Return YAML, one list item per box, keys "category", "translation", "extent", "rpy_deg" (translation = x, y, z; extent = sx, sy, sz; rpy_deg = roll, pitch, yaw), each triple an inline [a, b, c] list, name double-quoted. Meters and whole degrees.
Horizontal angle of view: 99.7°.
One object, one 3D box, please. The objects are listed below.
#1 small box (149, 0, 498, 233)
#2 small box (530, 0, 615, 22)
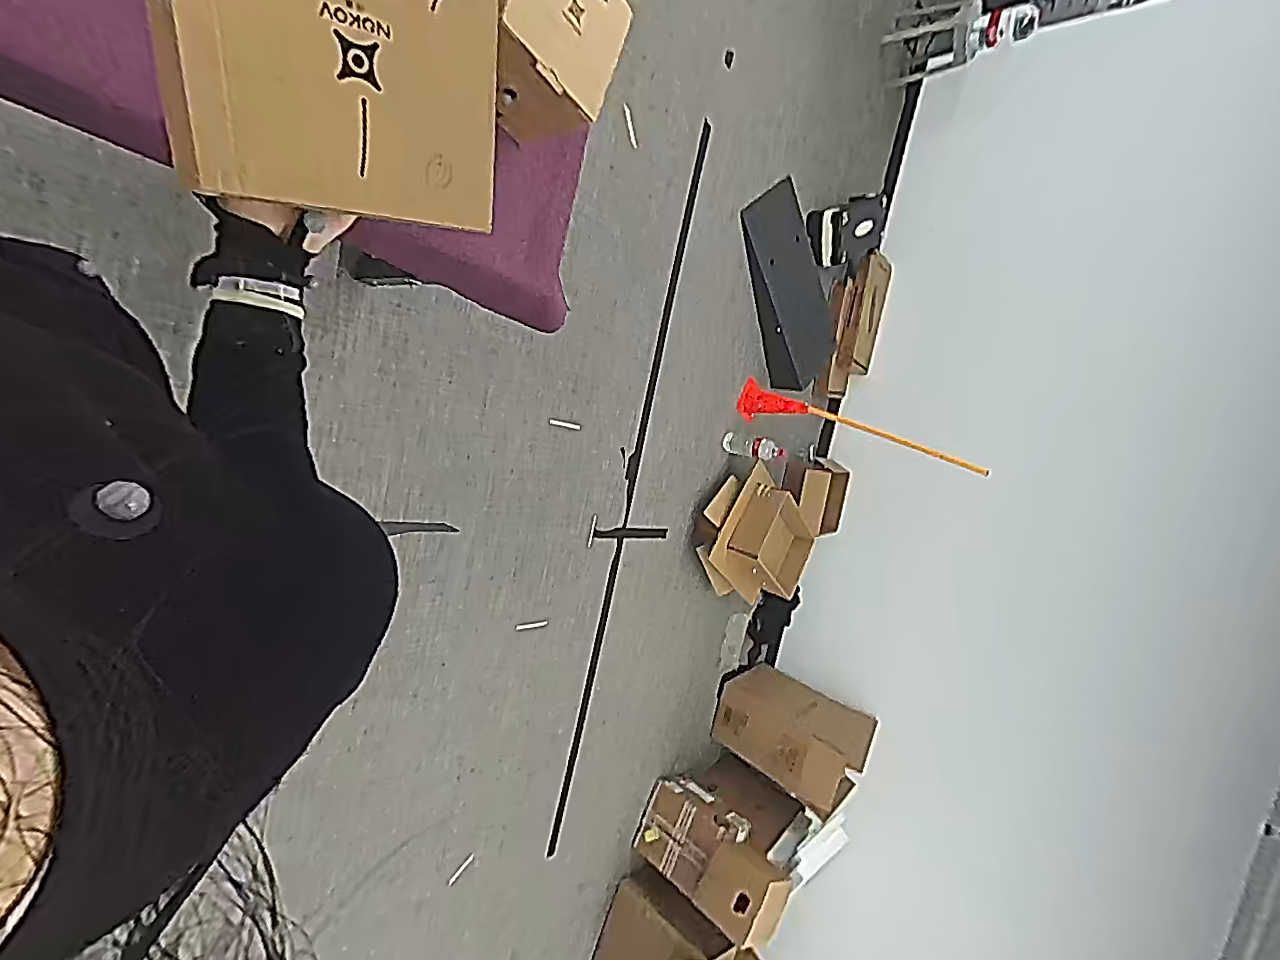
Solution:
- category: "small box"
  translation: [-0.211, -0.276, 0.361]
  extent: [0.168, 0.176, 0.179]
  rpy_deg: [-12, 120, -40]
- category: "small box"
  translation: [-0.099, -0.791, 0.737]
  extent: [0.168, 0.176, 0.179]
  rpy_deg: [13, 92, -52]
